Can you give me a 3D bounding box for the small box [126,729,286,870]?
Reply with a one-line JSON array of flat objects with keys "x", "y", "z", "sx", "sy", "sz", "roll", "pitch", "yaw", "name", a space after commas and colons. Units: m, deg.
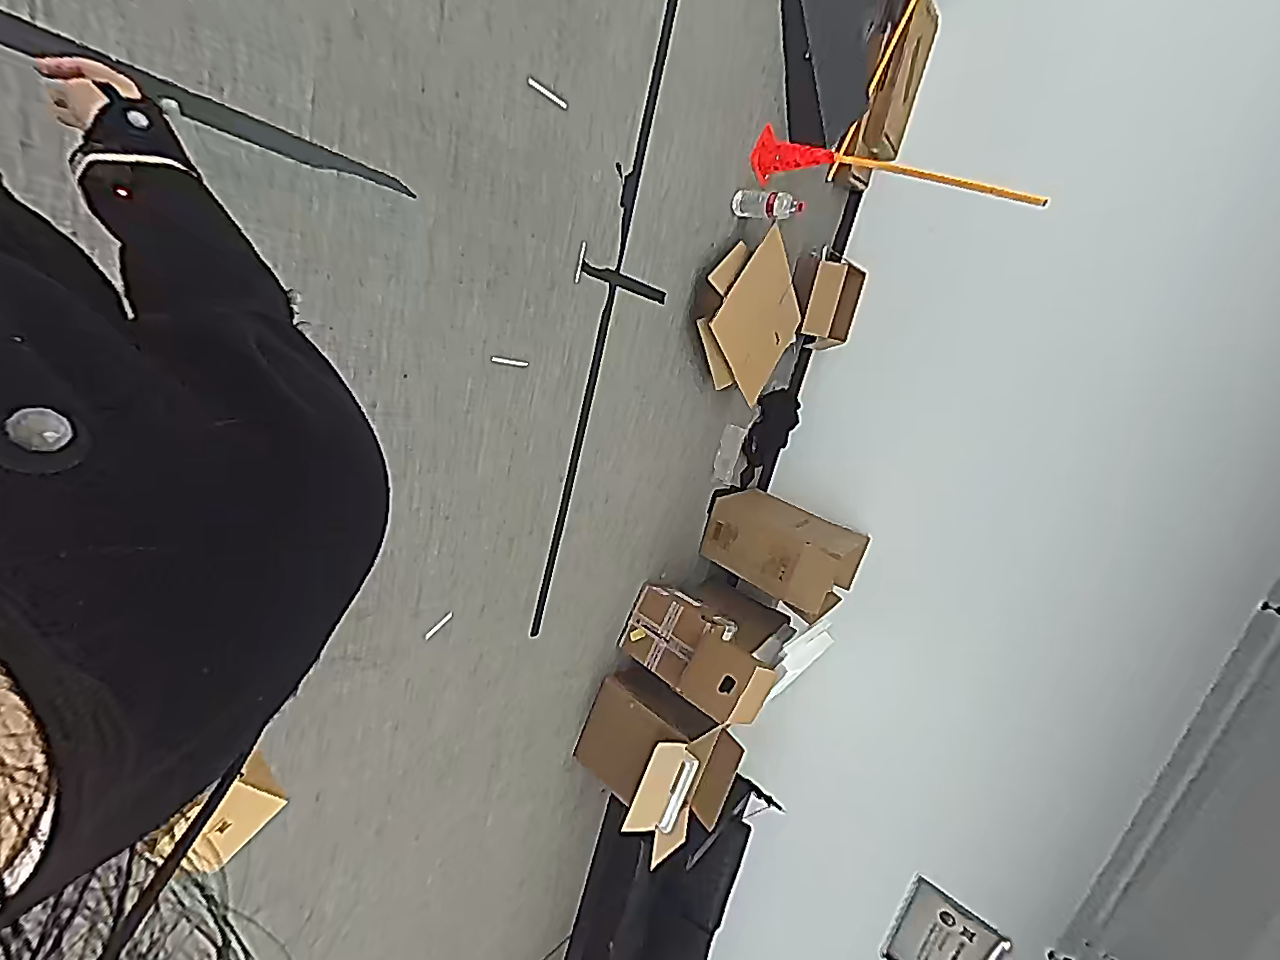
[{"x": -0.879, "y": 0.644, "z": 1.101, "sx": 0.168, "sy": 0.176, "sz": 0.179, "roll": -46, "pitch": 142, "yaw": -26, "name": "small box"}]
